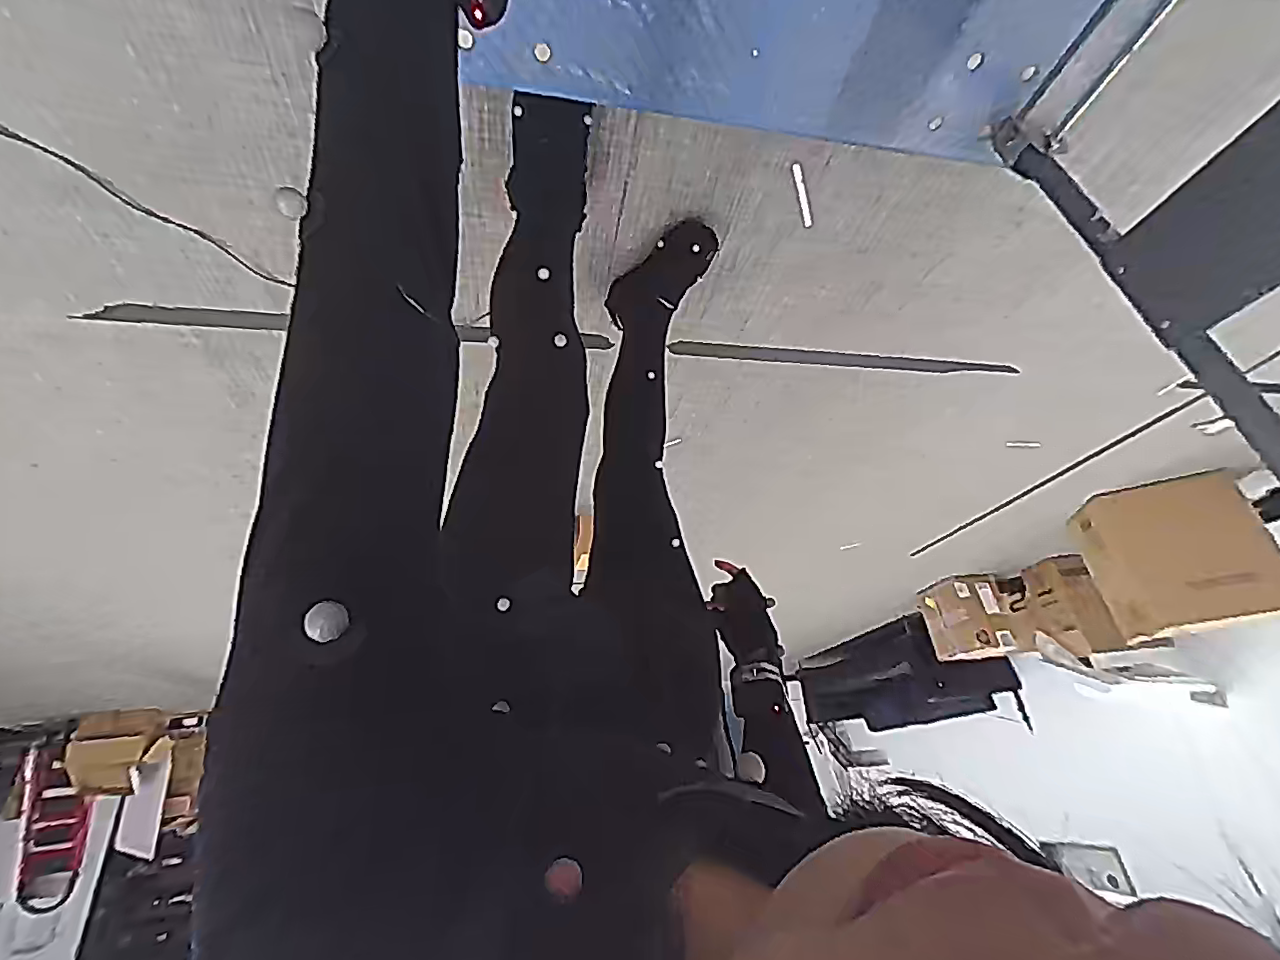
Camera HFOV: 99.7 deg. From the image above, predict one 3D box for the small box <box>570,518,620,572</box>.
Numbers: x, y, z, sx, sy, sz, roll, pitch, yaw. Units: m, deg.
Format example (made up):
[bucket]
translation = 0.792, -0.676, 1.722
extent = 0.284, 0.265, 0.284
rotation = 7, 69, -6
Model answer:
[small box]
translation = -0.183, 0.260, 2.143
extent = 0.168, 0.176, 0.179
rotation = 1, 152, -18
